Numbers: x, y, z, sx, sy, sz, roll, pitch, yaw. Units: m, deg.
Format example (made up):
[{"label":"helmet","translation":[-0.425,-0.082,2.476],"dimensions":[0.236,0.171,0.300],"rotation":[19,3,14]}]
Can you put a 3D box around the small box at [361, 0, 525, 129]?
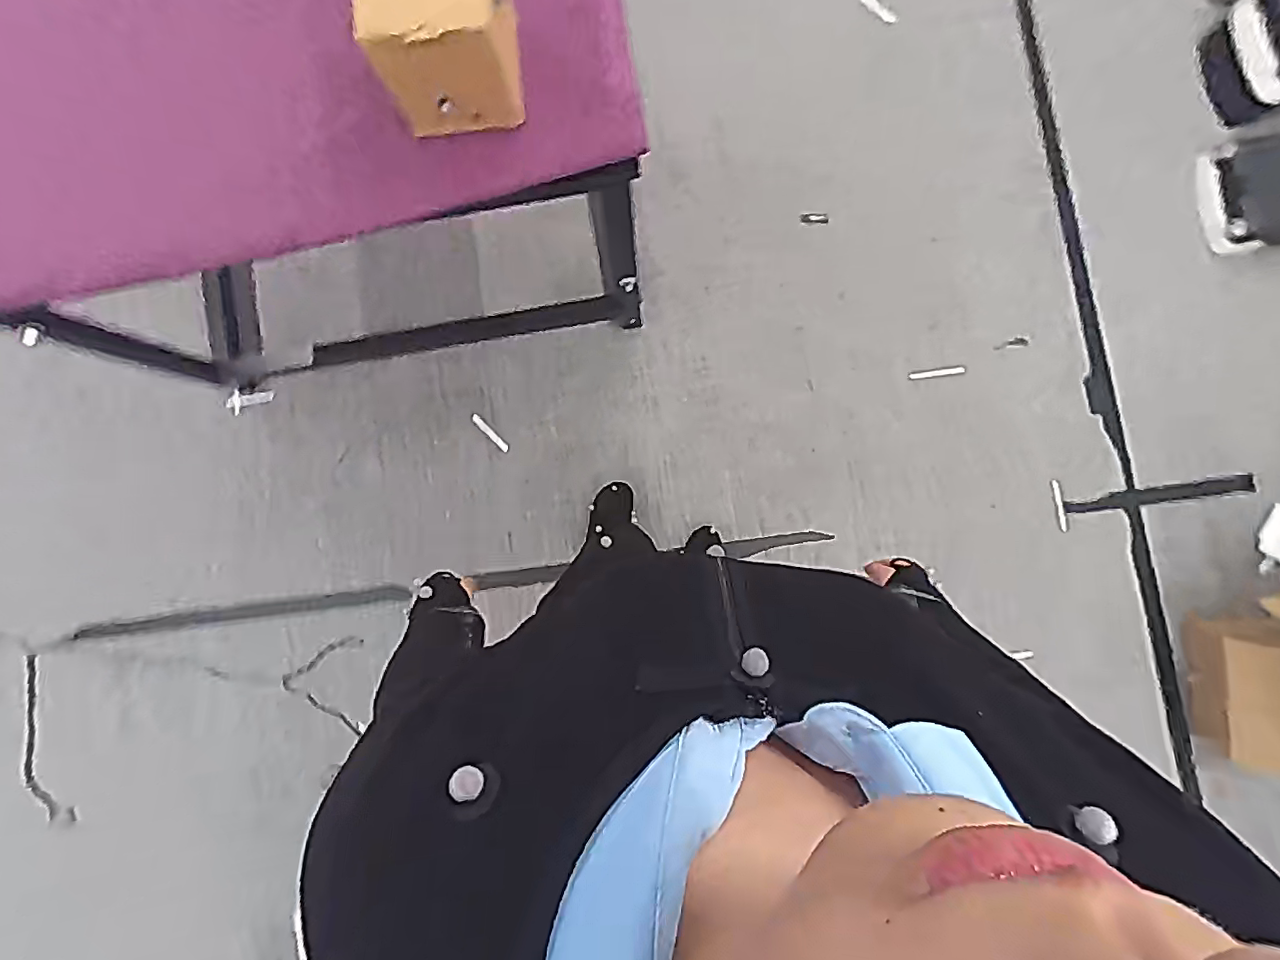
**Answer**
[{"label":"small box","translation":[-0.259,-0.625,0.740],"dimensions":[0.168,0.176,0.179],"rotation":[-4,86,1]}]
